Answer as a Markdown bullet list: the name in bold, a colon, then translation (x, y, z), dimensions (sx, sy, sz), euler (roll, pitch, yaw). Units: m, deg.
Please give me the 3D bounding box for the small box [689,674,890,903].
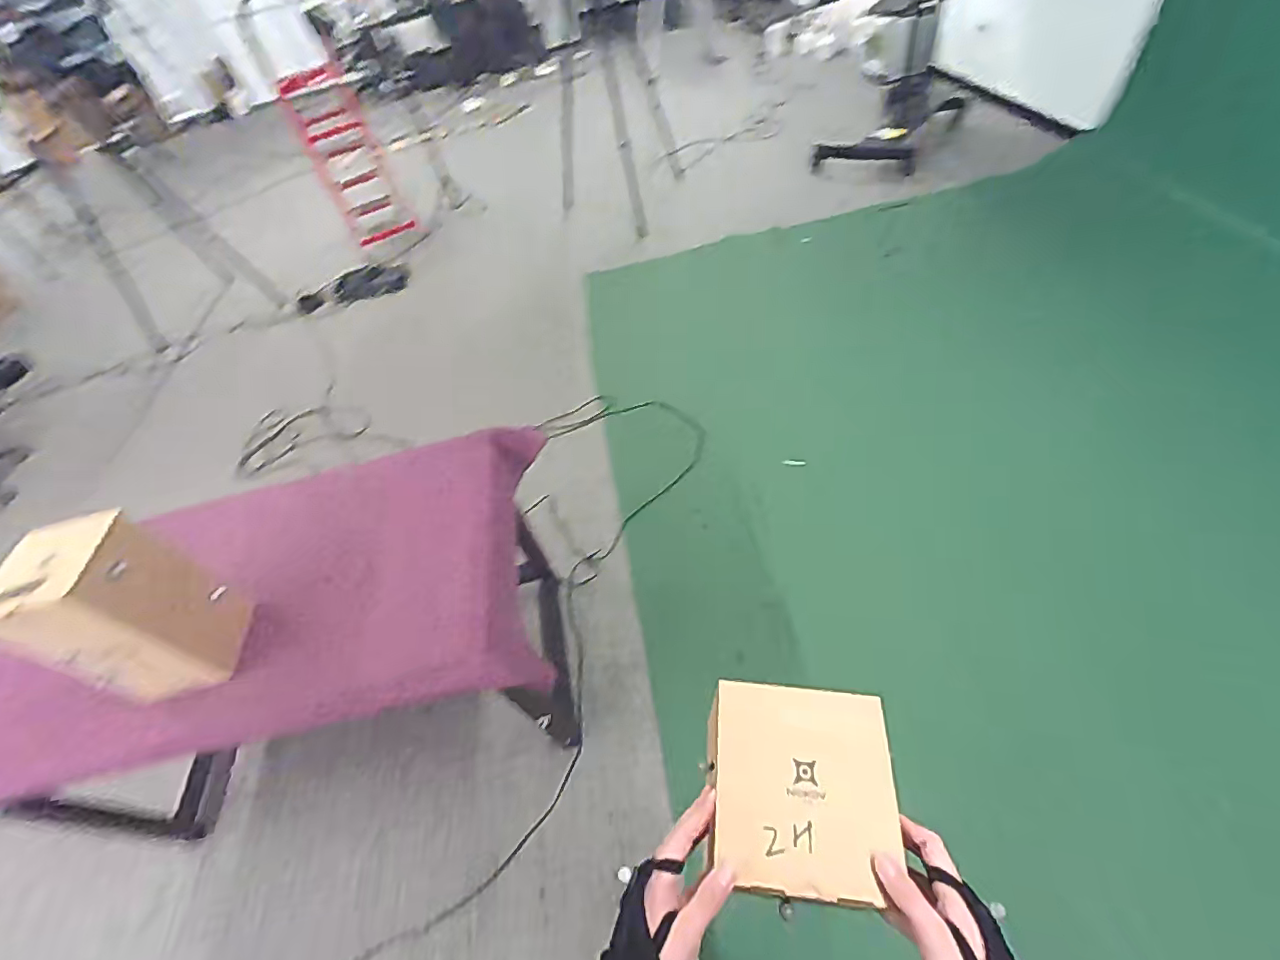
- **small box**: translation (0.141, 0.327, 0.574), dimensions (0.168, 0.176, 0.179), euler (4, 53, 5)
